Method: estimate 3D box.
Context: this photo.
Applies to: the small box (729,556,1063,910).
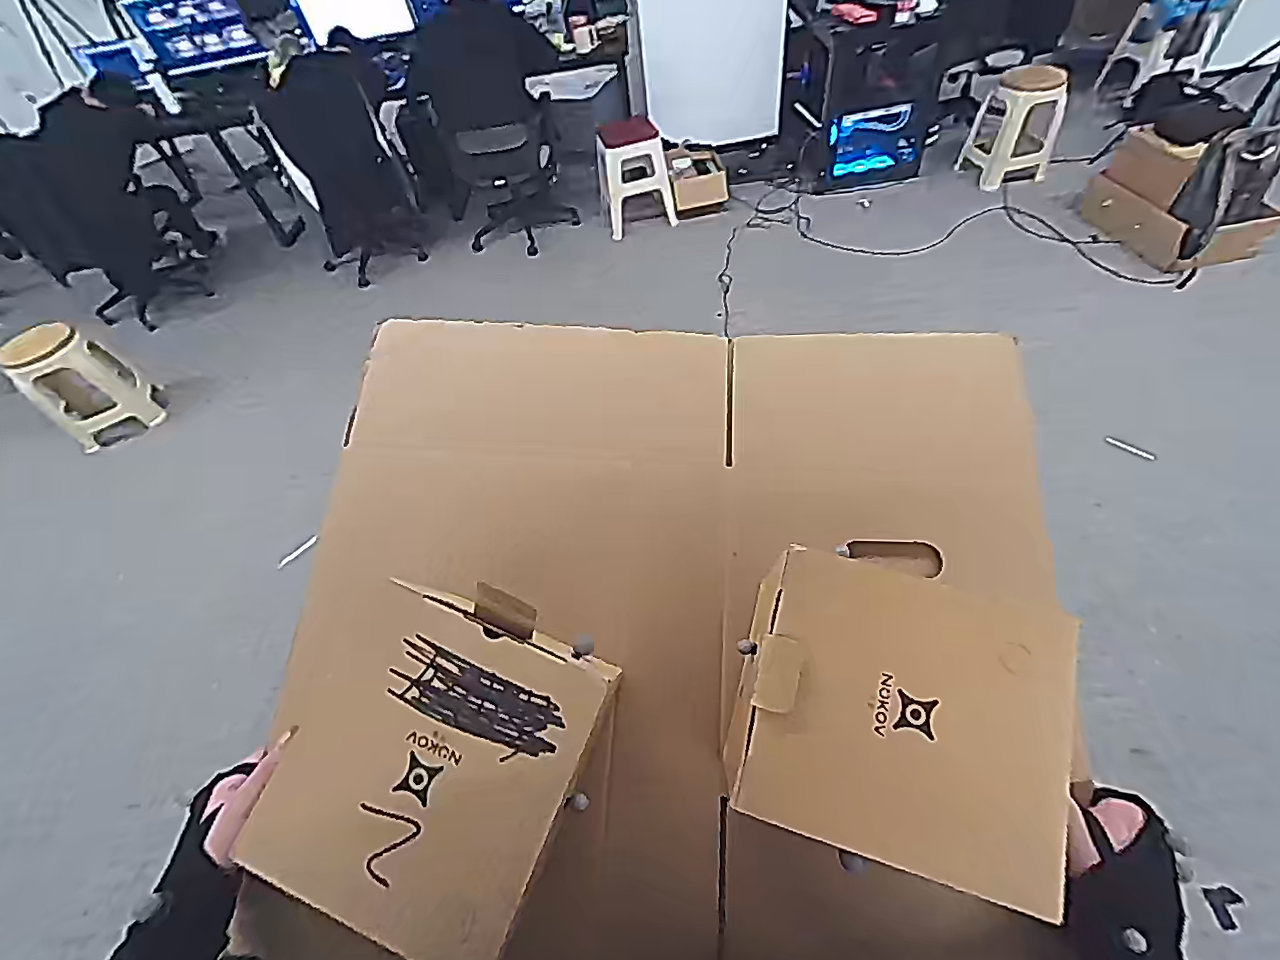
[{"bbox_3d":[0.171,0.168,0.410,0.179,0.176,0.168,13,74,13],"label":"small box"}]
